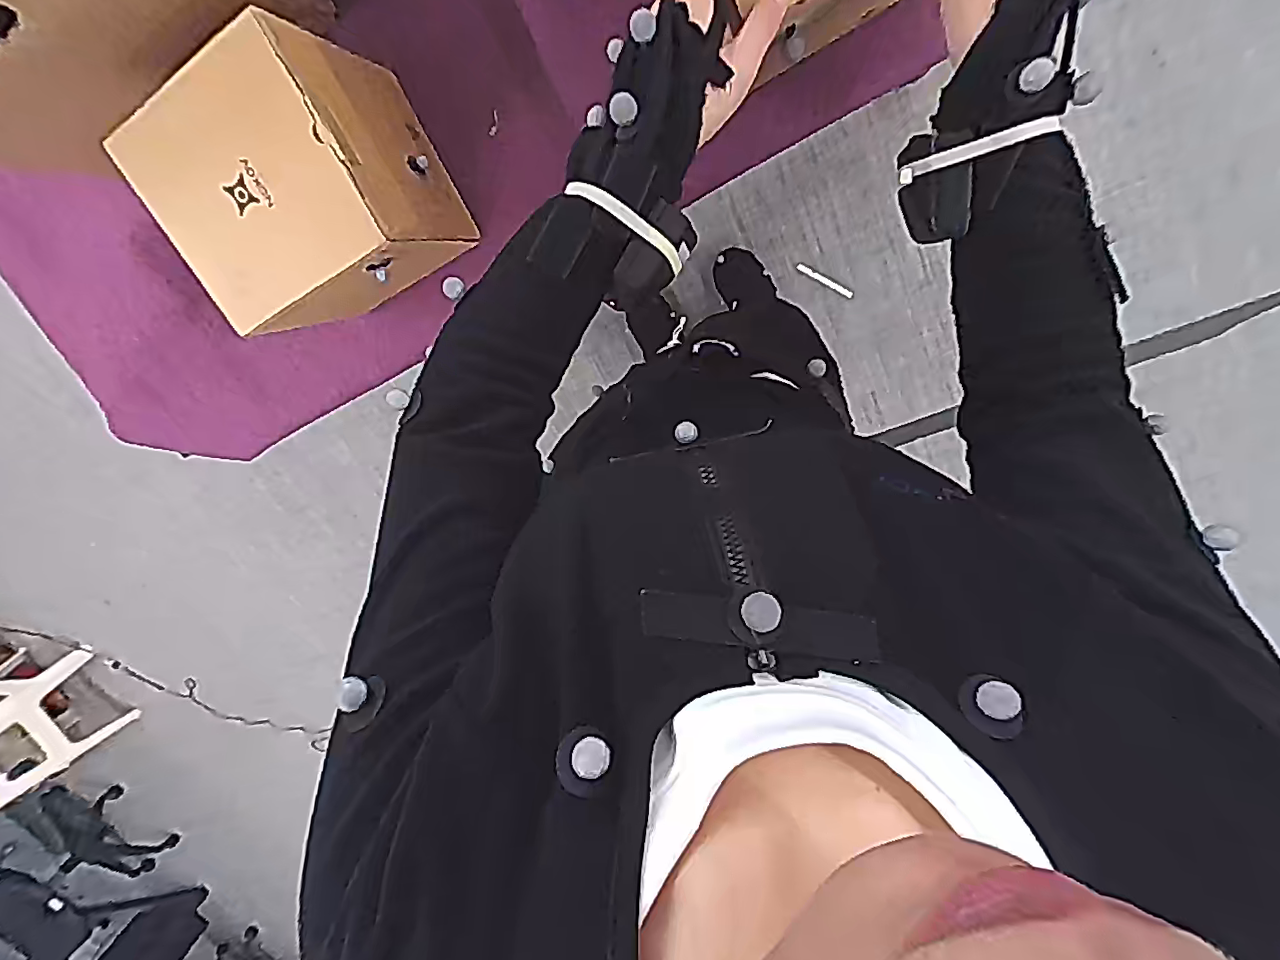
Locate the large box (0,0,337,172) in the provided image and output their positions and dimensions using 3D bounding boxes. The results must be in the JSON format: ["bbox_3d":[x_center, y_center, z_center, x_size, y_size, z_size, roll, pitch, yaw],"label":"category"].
[{"bbox_3d":[-0.515,-0.482,0.349,0.320,0.320,0.408,-20,113,18],"label":"large box"}]
